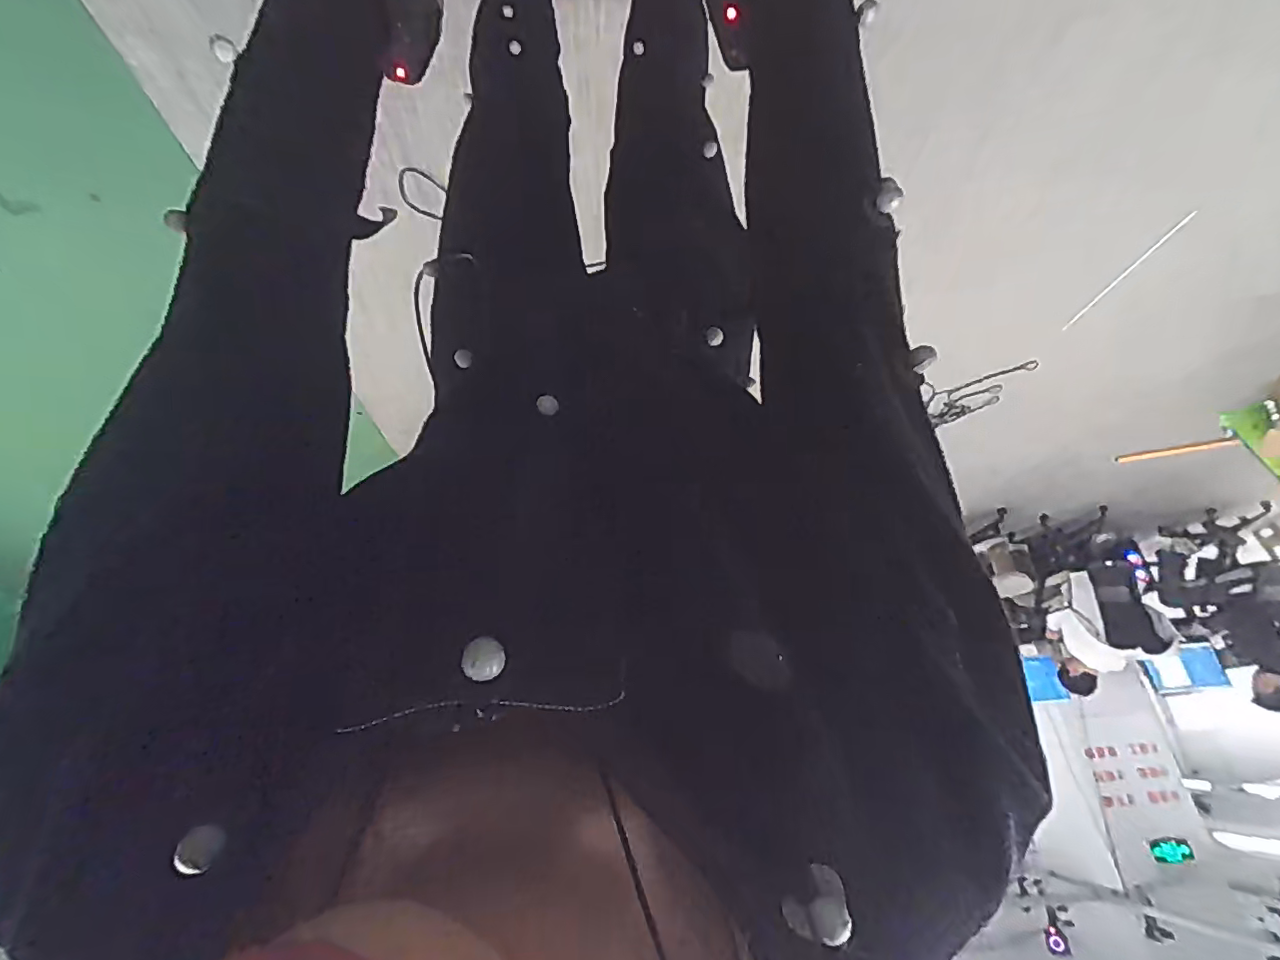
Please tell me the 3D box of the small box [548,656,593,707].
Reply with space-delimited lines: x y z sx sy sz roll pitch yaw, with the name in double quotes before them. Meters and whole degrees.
"small box" -0.273 0.781 2.102 0.168 0.176 0.179 -1 156 -8
